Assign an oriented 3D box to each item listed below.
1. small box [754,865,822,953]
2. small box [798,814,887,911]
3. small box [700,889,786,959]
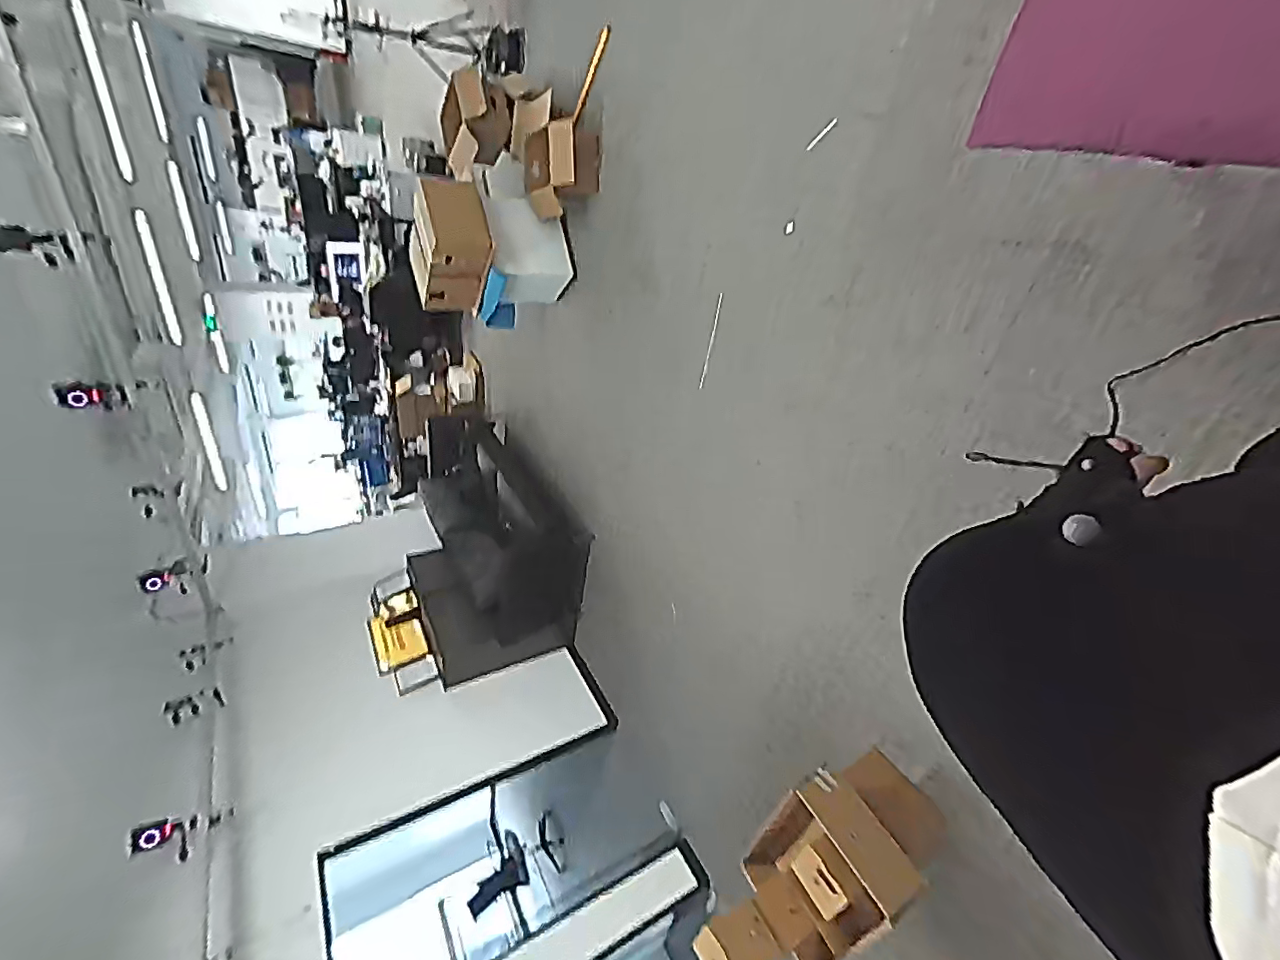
[{"bbox_3d":[0.451,1.390,1.737,0.168,0.176,0.179,50,137,41],"label":"small box"},{"bbox_3d":[0.630,1.180,1.678,0.168,0.176,0.179,51,142,40],"label":"small box"},{"bbox_3d":[0.314,1.401,1.645,0.168,0.176,0.179,48,135,42],"label":"small box"}]
